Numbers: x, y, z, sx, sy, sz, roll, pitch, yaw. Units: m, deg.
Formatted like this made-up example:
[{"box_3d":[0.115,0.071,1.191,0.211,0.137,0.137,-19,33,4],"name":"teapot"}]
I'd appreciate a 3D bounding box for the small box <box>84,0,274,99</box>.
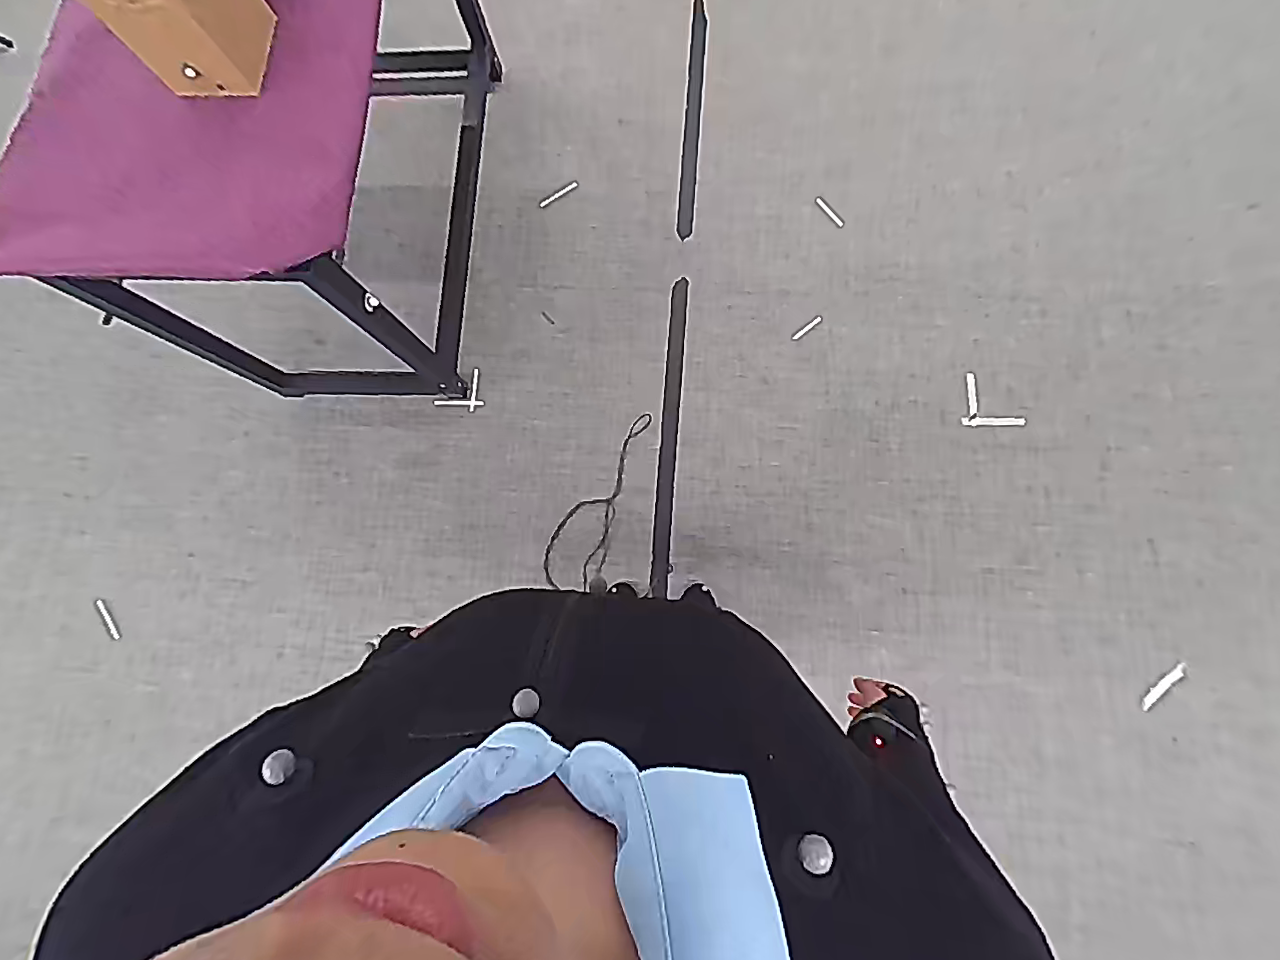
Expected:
[{"box_3d":[-0.775,-0.804,0.931,0.168,0.176,0.179,4,80,5],"name":"small box"}]
